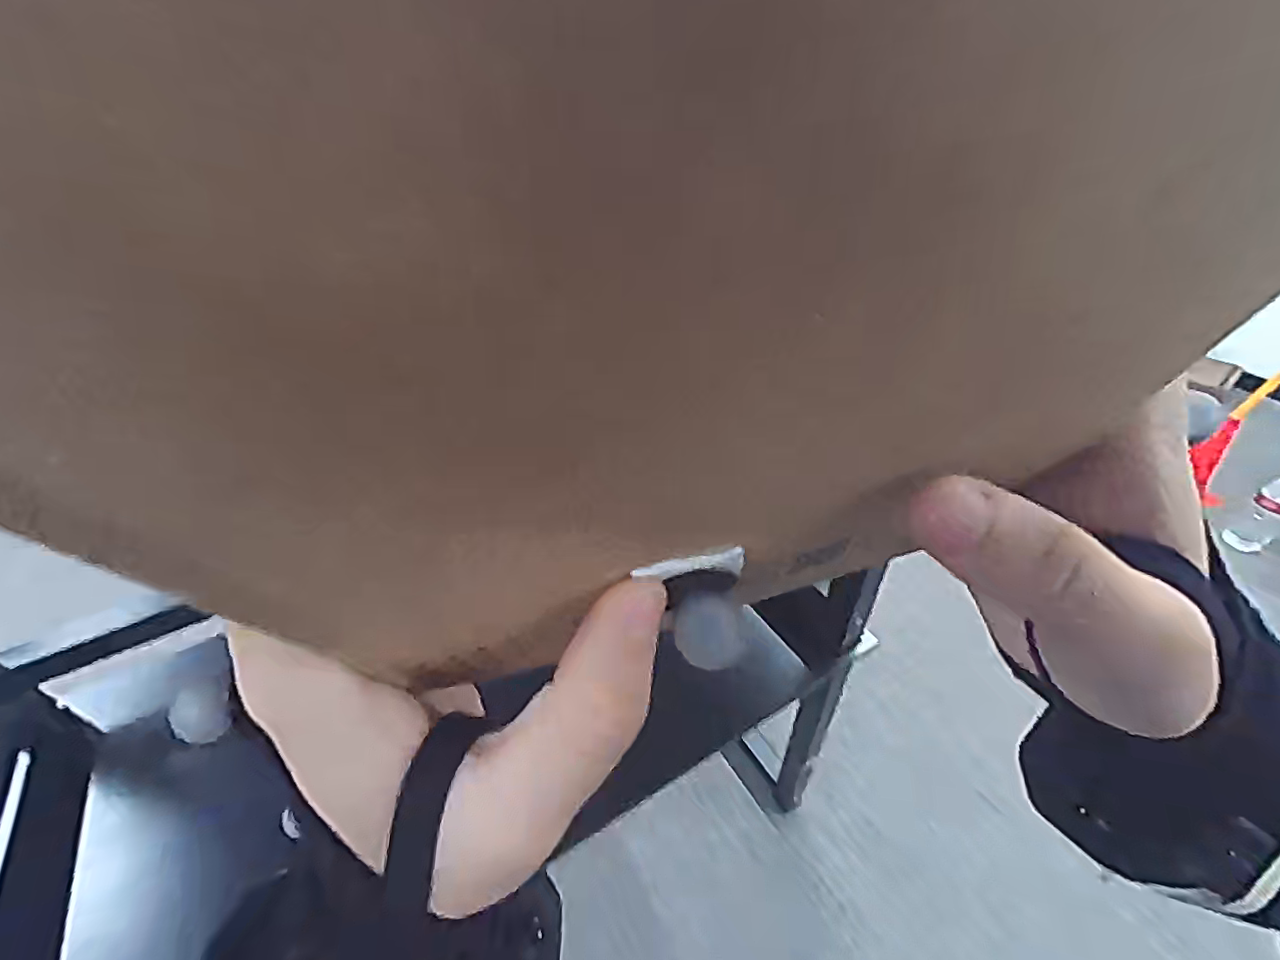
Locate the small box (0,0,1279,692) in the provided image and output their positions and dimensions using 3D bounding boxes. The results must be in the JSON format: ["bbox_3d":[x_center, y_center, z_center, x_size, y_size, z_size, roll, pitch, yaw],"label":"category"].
[{"bbox_3d":[0.001,-0.072,0.127,0.168,0.176,0.179,-16,61,-6],"label":"small box"}]
